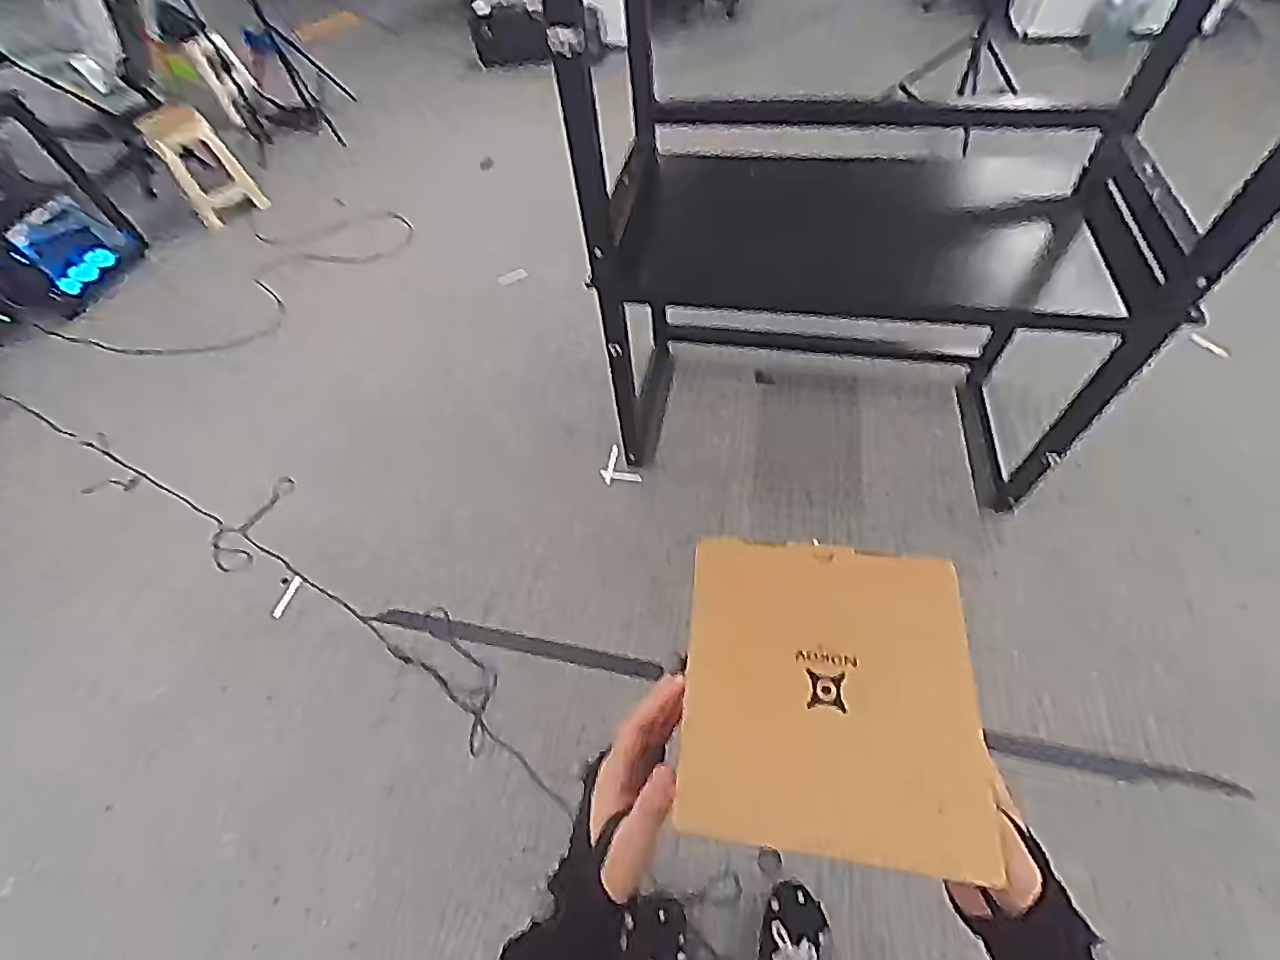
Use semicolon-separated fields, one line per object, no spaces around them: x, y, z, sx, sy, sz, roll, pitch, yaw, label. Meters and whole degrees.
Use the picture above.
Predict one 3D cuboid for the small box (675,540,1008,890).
0.117;0.162;0.383;0.168;0.176;0.179;4;57;8;small box
